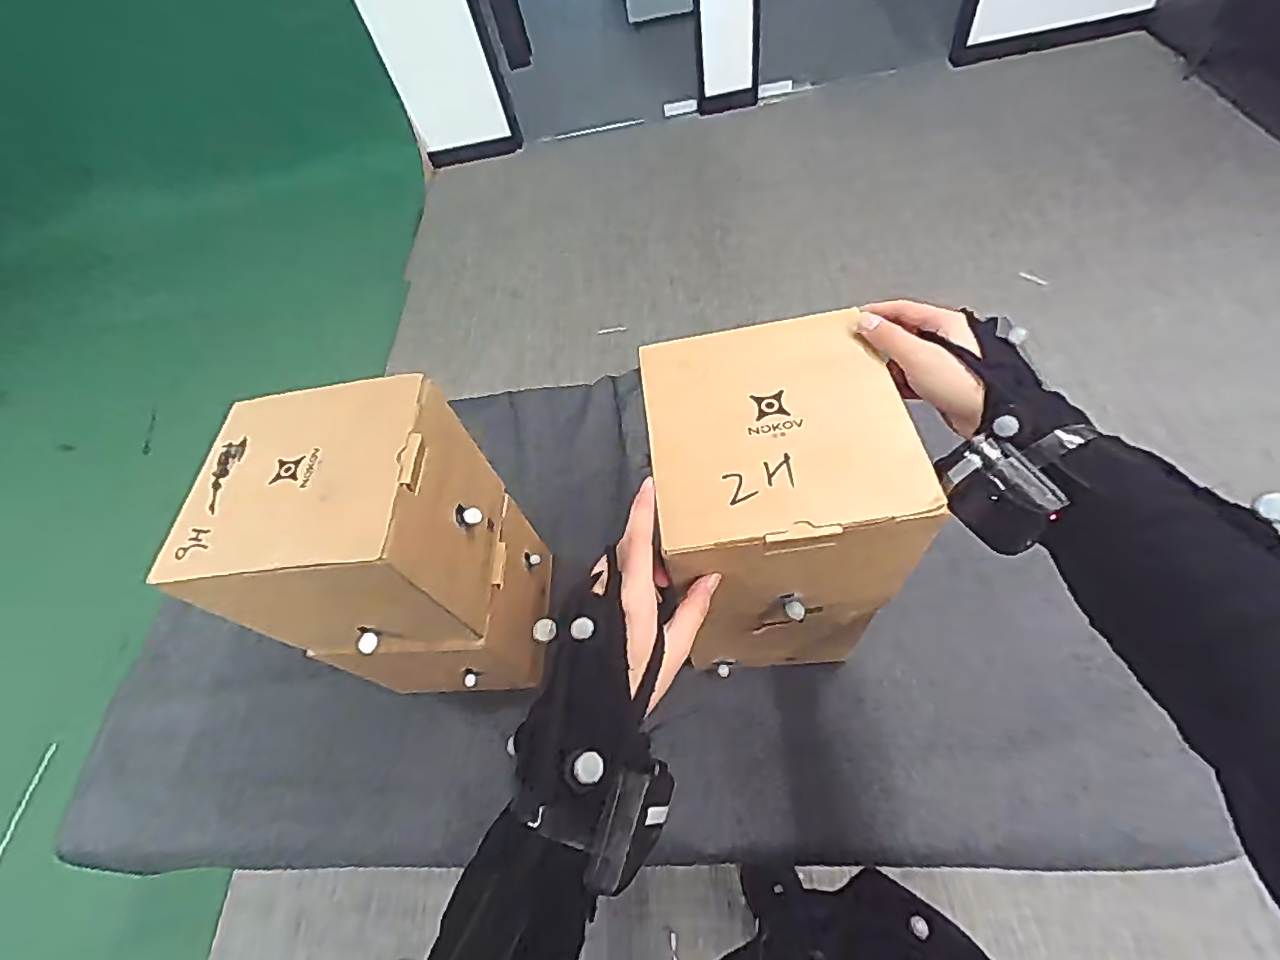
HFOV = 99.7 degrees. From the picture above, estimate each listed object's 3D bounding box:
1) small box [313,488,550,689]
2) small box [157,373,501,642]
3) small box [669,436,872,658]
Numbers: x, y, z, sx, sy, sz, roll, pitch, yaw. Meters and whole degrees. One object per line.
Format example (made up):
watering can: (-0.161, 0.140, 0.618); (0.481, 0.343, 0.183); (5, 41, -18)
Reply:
small box: (-0.208, 0.127, 0.601); (0.179, 0.176, 0.168); (-6, 56, 7)
small box: (-0.235, 0.033, 0.469); (0.179, 0.176, 0.168); (-7, 56, 6)
small box: (0.124, 0.080, 0.567); (0.168, 0.176, 0.179); (-6, 56, 6)
